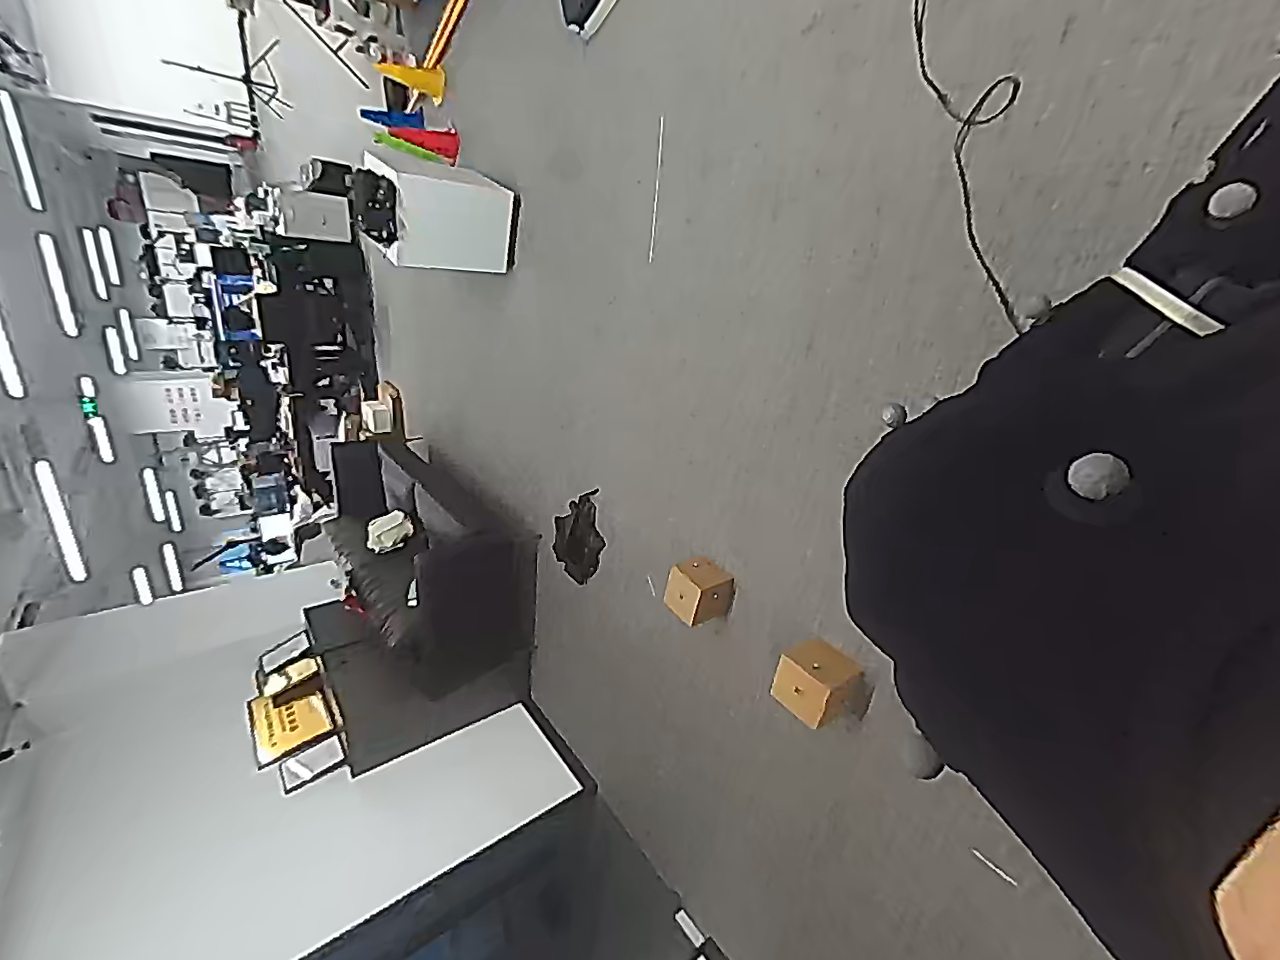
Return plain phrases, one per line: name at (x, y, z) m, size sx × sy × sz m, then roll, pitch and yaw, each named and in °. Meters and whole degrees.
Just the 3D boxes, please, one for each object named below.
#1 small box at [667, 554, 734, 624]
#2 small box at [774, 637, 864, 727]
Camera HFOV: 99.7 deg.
small box at (0.228, 0.398, 2.011) m, size 0.168 × 0.176 × 0.179 m, roll 38°, pitch 128°, yaw 43°
small box at (0.545, 0.604, 1.649) m, size 0.179 × 0.176 × 0.168 m, roll 32°, pitch 124°, yaw 44°
